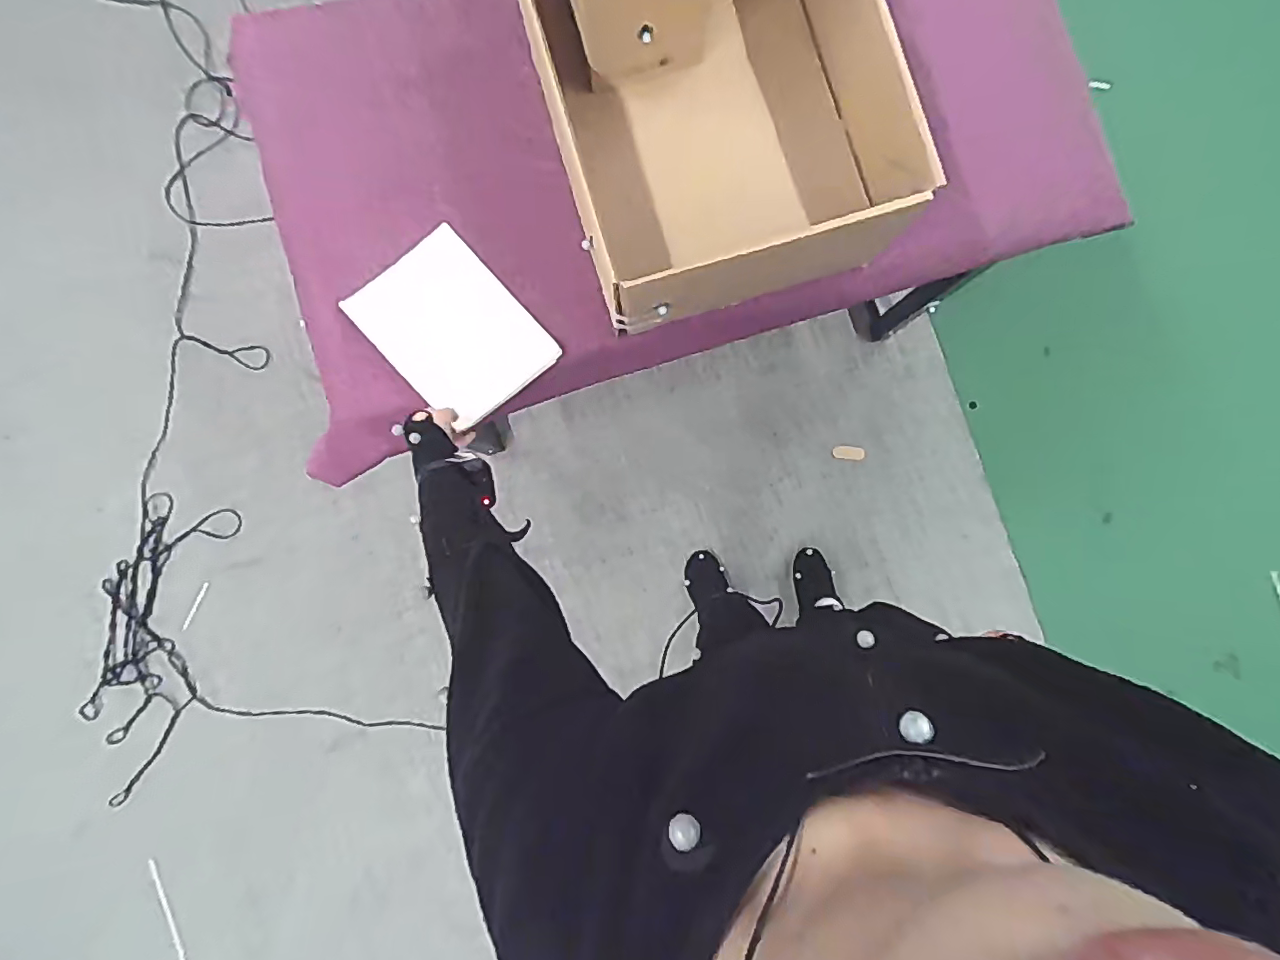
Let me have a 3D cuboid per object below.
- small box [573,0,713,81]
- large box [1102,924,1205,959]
[{"bbox_3d":[-0.005,-0.653,0.685,0.168,0.176,0.179,-16,88,0],"label":"small box"},{"bbox_3d":[1.276,1.386,1.262,0.408,0.320,0.320,-32,88,-2],"label":"large box"}]
